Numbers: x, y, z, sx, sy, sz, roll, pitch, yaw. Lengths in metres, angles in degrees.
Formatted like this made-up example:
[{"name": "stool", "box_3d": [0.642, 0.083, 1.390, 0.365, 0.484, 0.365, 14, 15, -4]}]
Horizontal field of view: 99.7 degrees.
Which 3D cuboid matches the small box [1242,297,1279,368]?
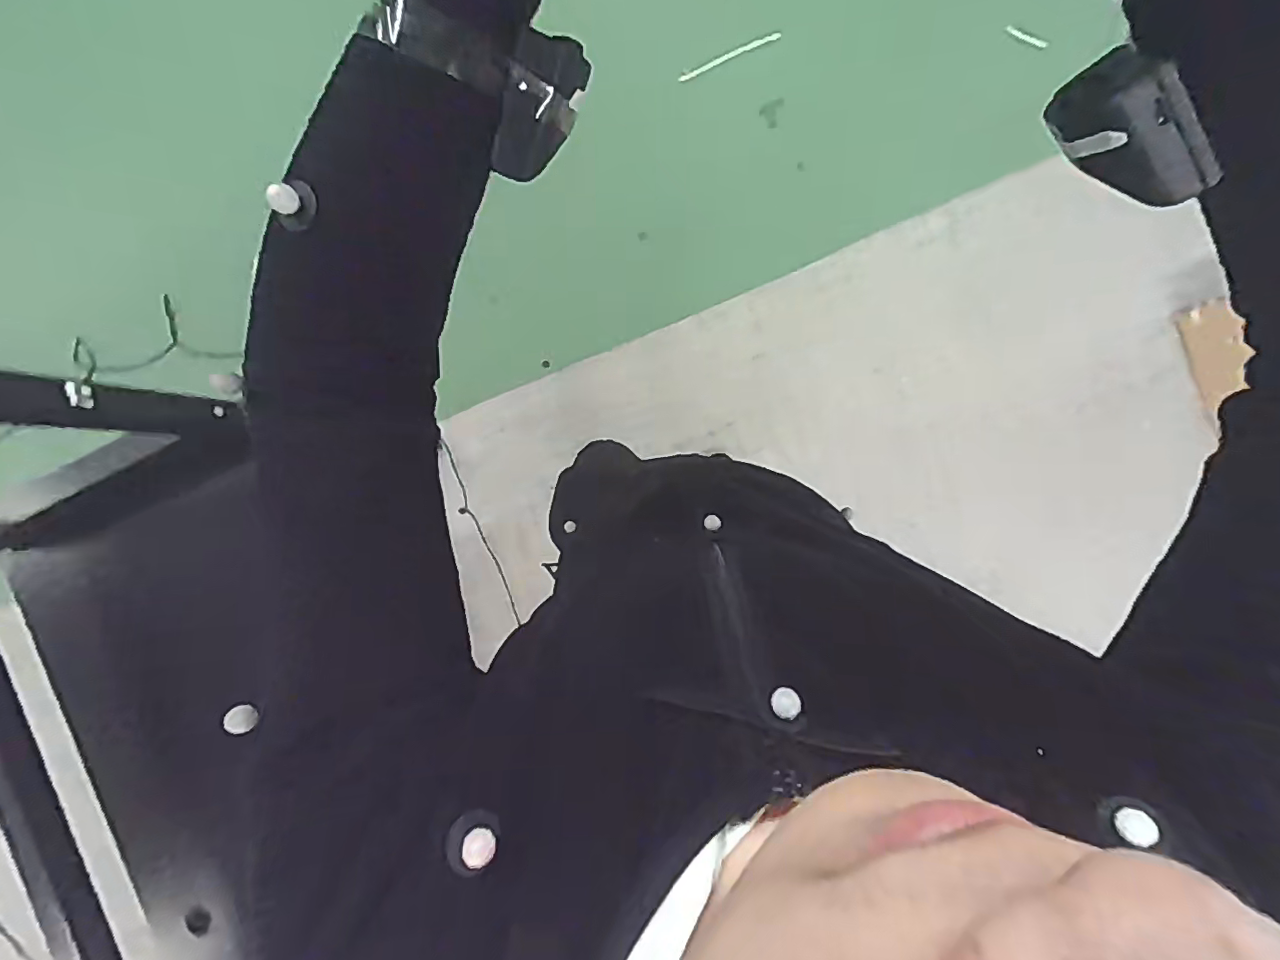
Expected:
[{"name": "small box", "box_3d": [1.689, -0.394, 1.357, 0.179, 0.176, 0.168, -21, 91, 5]}]
